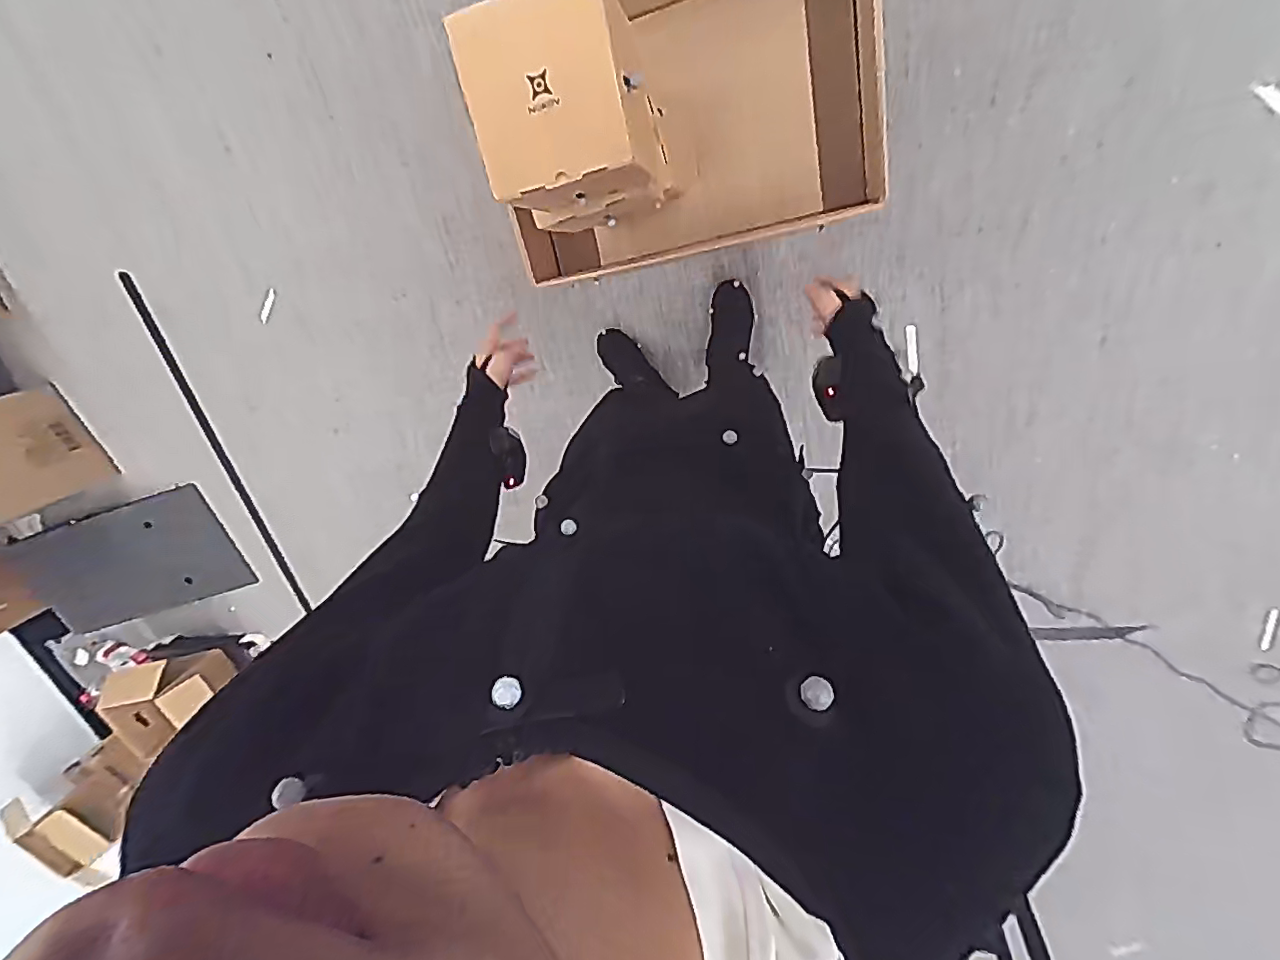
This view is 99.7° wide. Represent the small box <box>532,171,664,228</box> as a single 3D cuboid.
[{"bbox_3d":[-0.073,-0.481,0.785,0.168,0.176,0.179,-11,112,17],"label":"small box"}]

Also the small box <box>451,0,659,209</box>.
[{"bbox_3d":[-0.082,-0.431,0.627,0.168,0.176,0.179,-9,112,15],"label":"small box"}]

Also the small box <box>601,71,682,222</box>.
[{"bbox_3d":[-0.033,-0.556,0.925,0.179,0.176,0.168,-13,111,18],"label":"small box"}]
